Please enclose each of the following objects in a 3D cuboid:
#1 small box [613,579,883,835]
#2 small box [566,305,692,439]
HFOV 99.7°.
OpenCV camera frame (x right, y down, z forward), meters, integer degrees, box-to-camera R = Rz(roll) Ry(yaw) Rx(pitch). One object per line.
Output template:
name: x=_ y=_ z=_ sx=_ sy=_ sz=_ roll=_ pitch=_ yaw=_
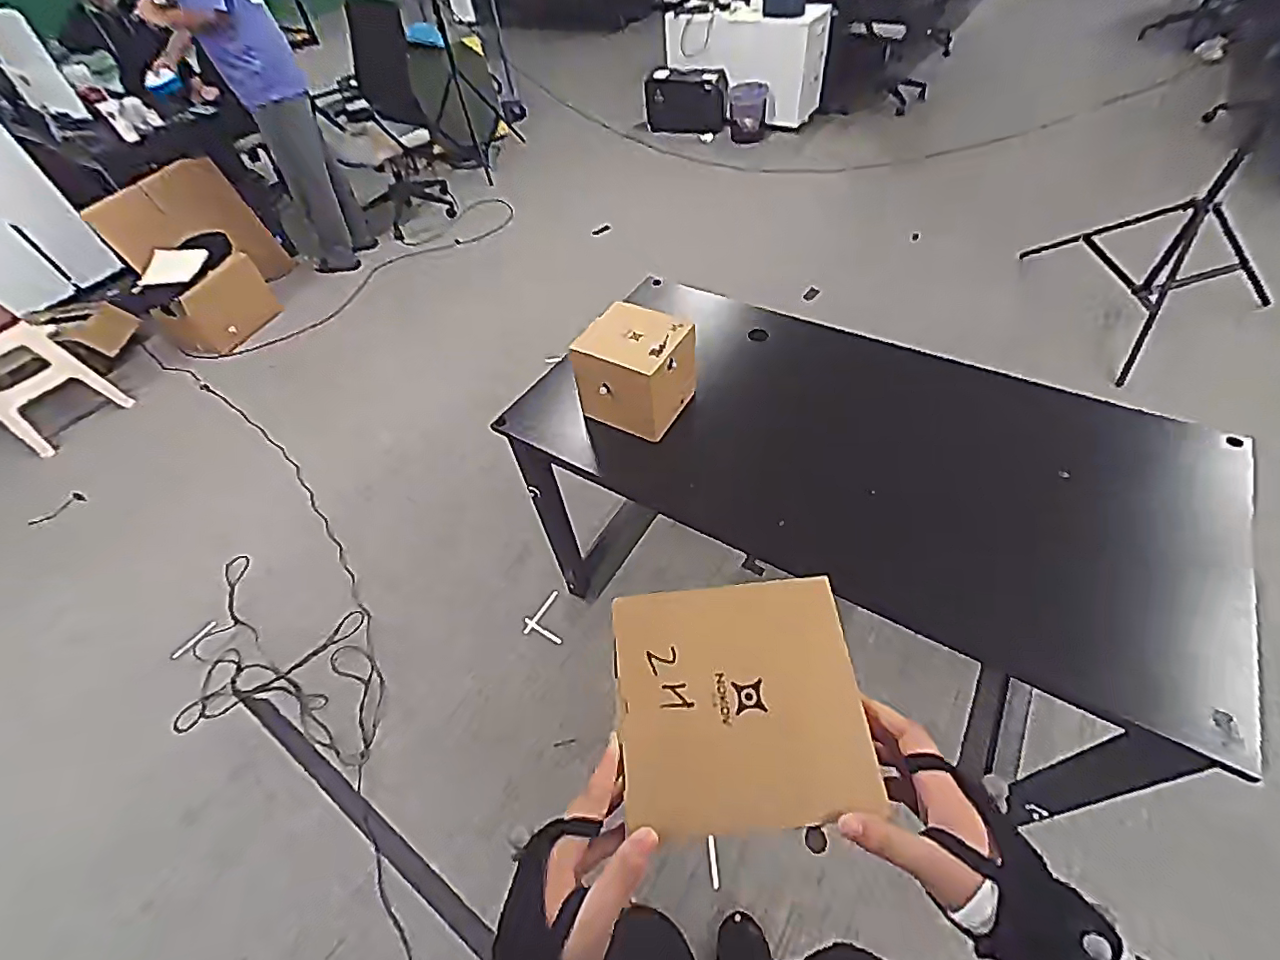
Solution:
small box: x=0.073 y=0.195 z=0.463 sx=0.179 sy=0.176 sz=0.168 roll=-6 pitch=59 yaw=1
small box: x=-0.013 y=-0.204 z=1.033 sx=0.179 sy=0.176 sz=0.168 roll=22 pitch=57 yaw=22
